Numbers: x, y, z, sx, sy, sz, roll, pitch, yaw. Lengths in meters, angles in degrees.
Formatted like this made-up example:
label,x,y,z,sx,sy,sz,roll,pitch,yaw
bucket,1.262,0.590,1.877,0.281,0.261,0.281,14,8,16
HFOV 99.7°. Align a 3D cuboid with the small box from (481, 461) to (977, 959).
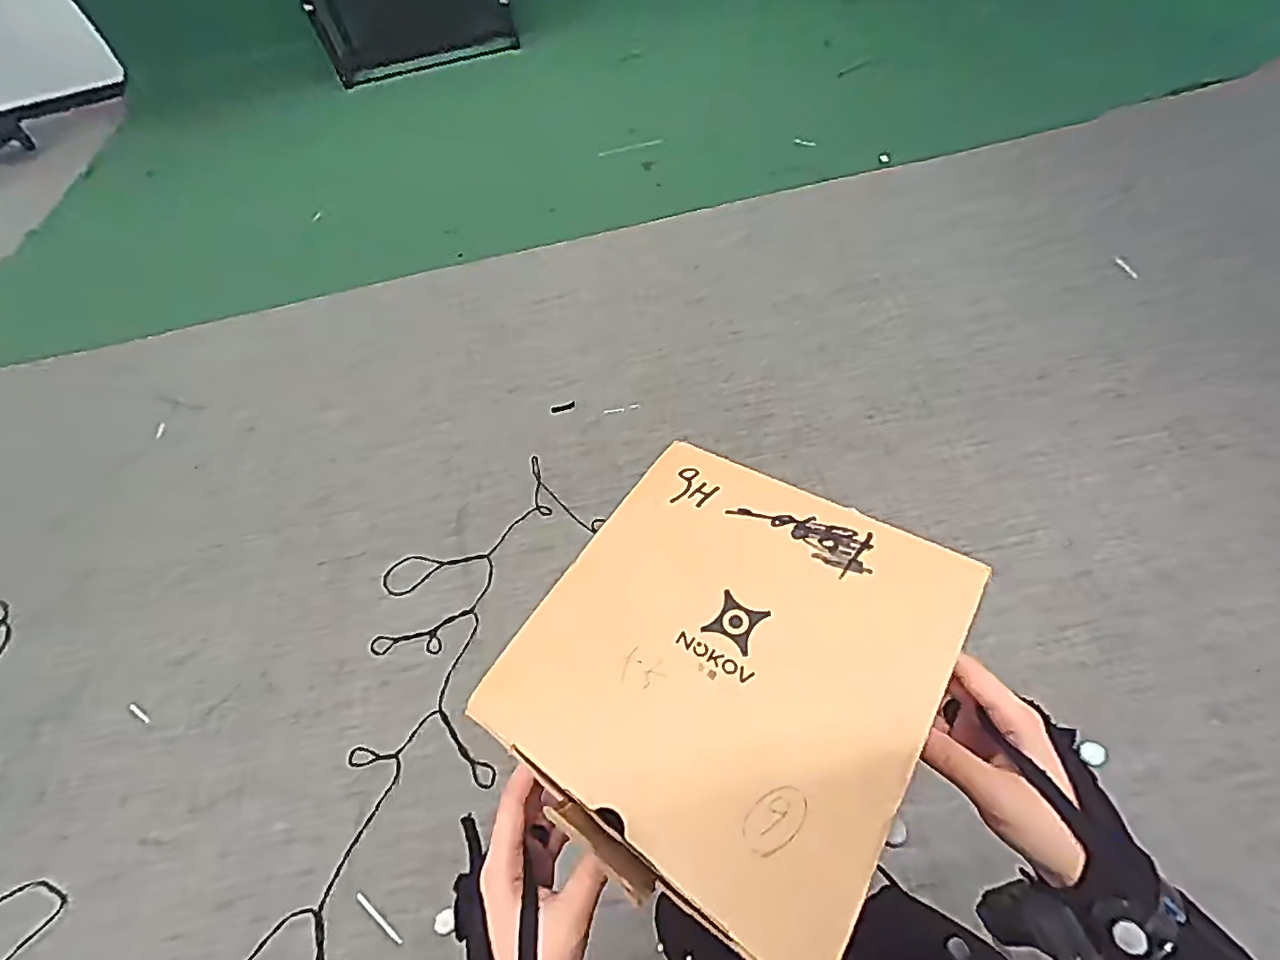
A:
label,x,y,z,sx,sy,sz,roll,pitch,yaw
small box,0.053,0.127,0.306,0.168,0.176,0.179,25,63,28
